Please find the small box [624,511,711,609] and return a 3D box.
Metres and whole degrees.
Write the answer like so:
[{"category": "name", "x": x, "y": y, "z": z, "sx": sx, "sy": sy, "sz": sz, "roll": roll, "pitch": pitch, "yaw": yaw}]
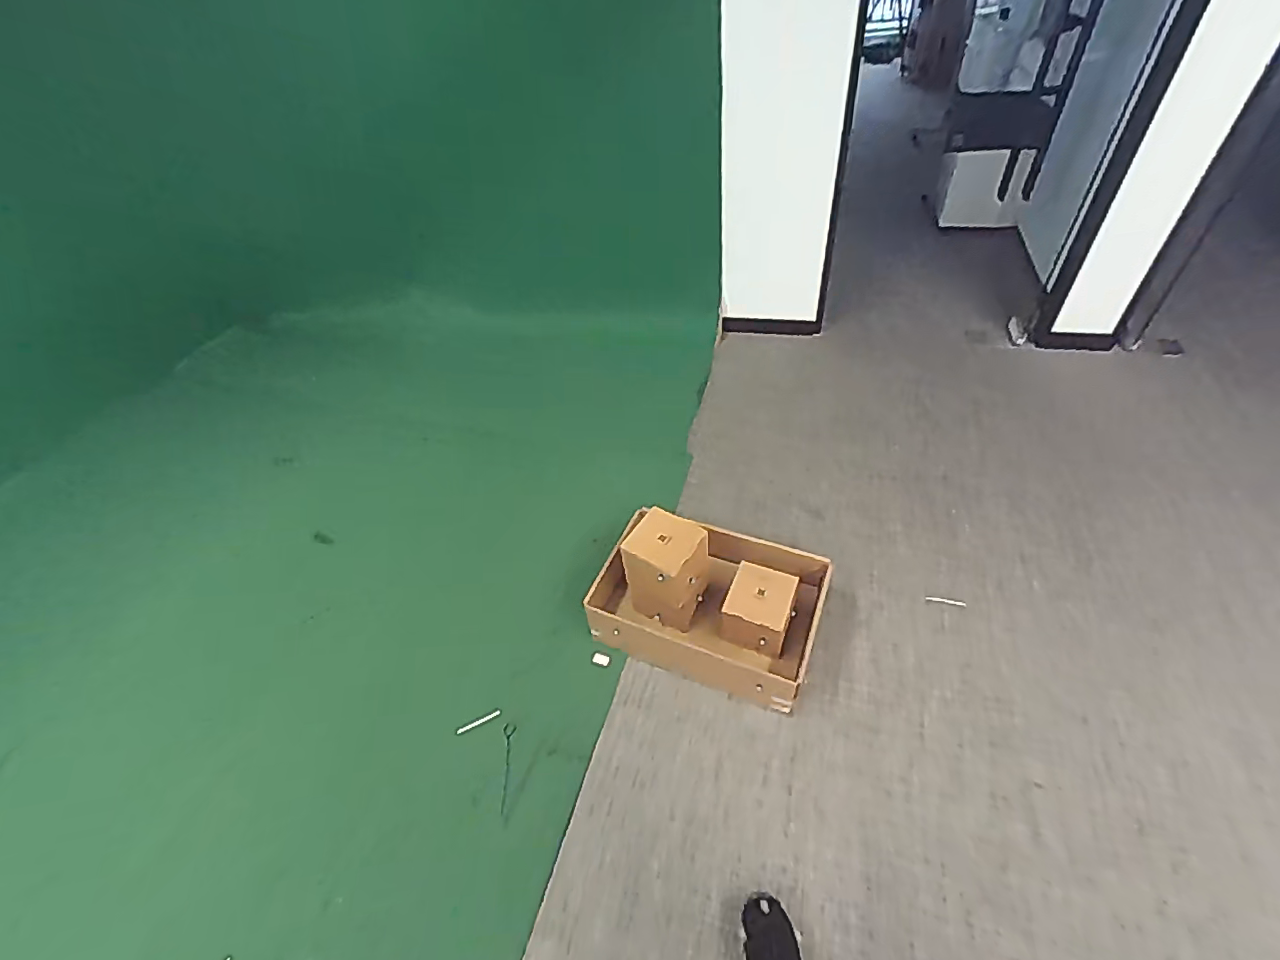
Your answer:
[{"category": "small box", "x": 0.078, "y": 0.220, "z": 1.469, "sx": 0.179, "sy": 0.176, "sz": 0.168, "roll": 24, "pitch": 54, "yaw": 26}]
